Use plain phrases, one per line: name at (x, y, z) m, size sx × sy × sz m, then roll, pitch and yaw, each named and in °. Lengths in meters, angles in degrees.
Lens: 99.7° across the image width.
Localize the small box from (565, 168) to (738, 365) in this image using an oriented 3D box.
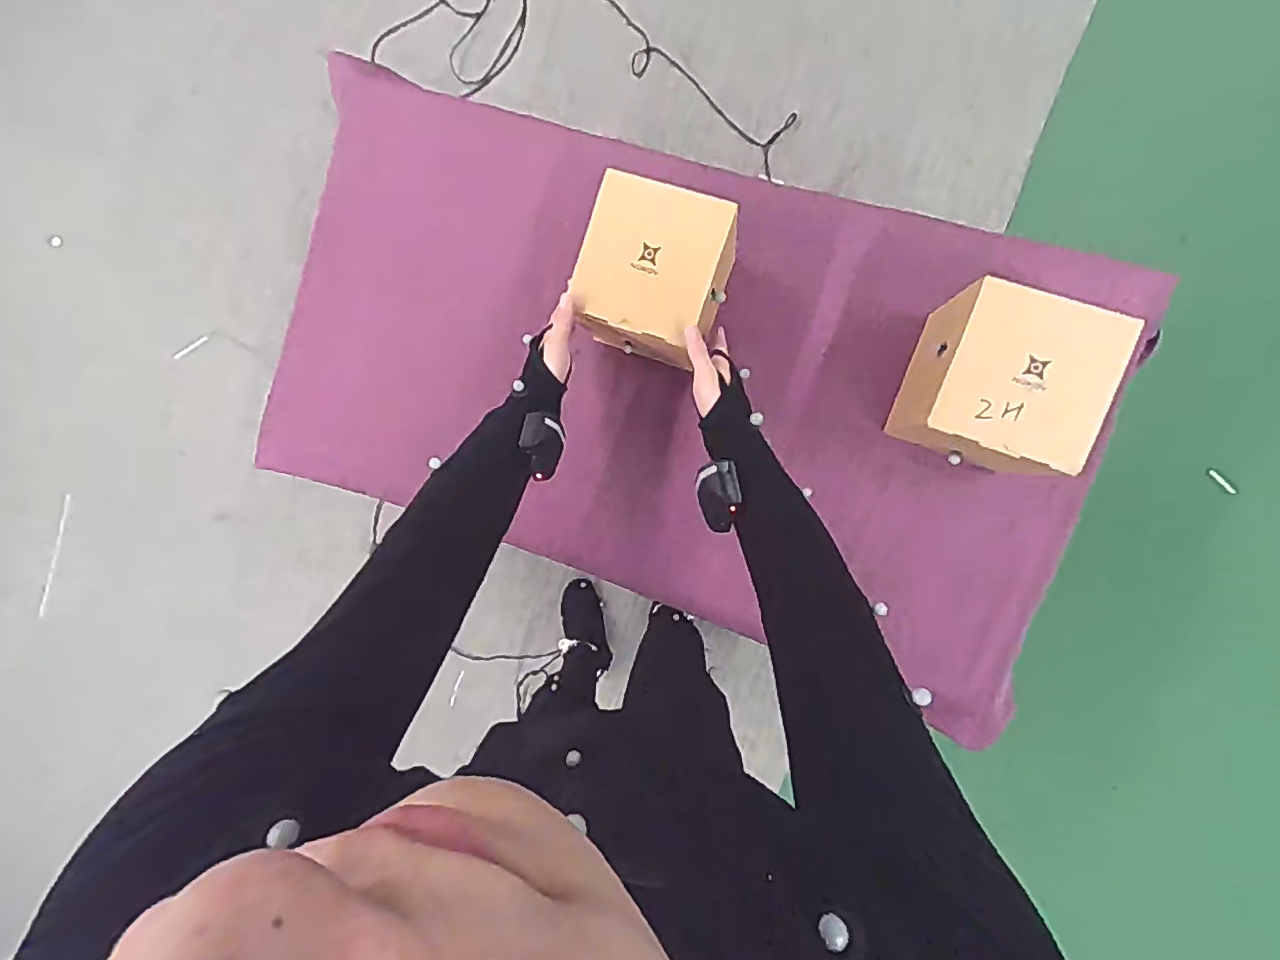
small box at (0.021, -0.269, 0.721) m, size 0.168 × 0.176 × 0.179 m, roll 19°, pitch 97°, yaw 6°

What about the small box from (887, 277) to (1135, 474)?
small box at (0.432, -0.118, 0.667) m, size 0.168 × 0.176 × 0.179 m, roll 21°, pitch 96°, yaw 8°
